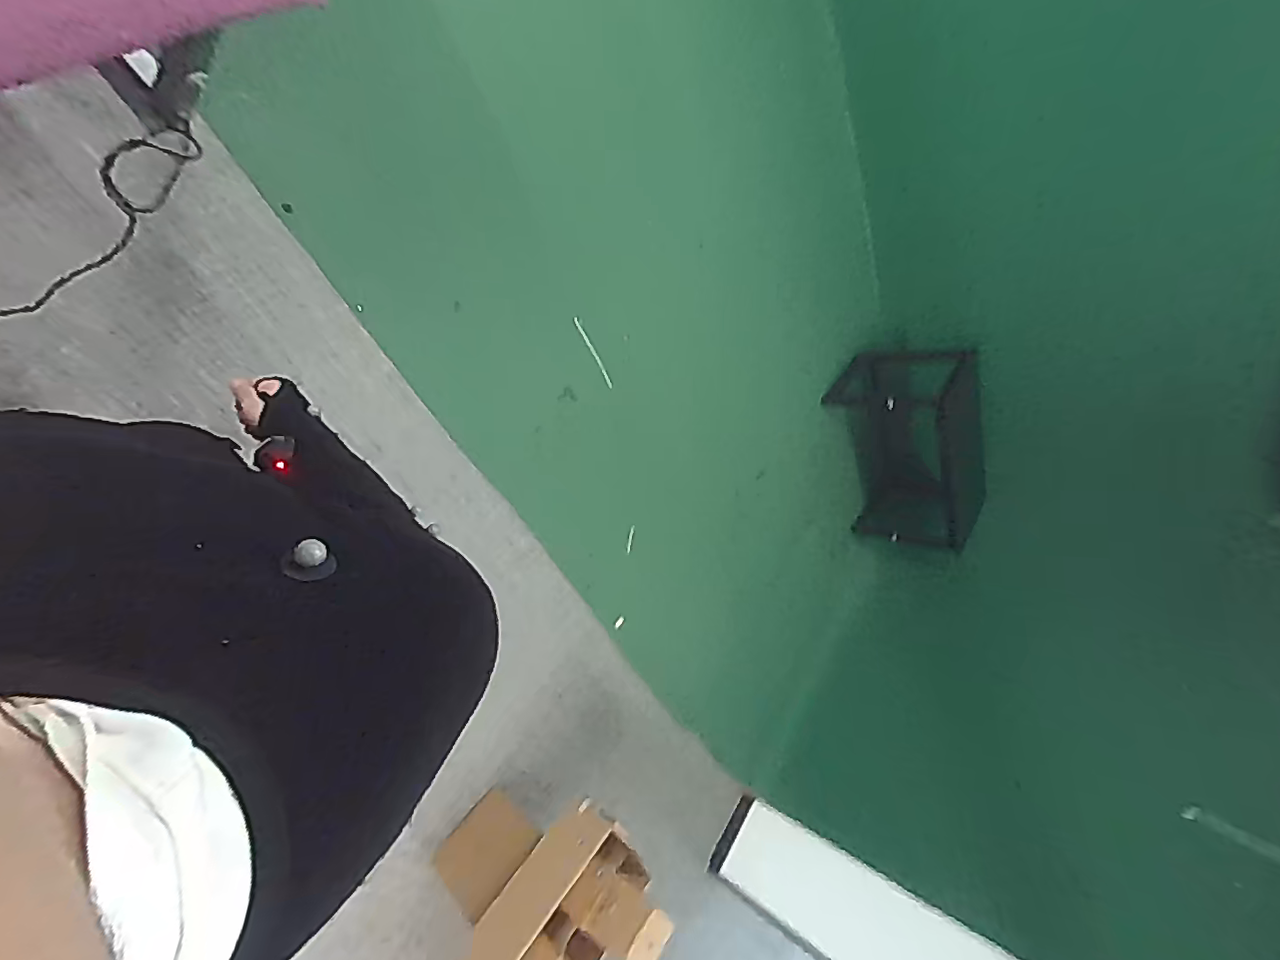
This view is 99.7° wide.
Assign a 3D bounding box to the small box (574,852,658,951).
[{"bbox_3d":[-0.076,1.332,1.717,0.168,0.176,0.179,-47,129,-29],"label":"small box"}]

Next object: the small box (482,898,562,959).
[{"bbox_3d":[-0.358,1.466,1.694,0.168,0.176,0.179,-45,127,-31],"label":"small box"}]

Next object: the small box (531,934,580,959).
[{"bbox_3d":[-0.237,1.496,1.588,0.168,0.176,0.179,-43,126,-32],"label":"small box"}]
